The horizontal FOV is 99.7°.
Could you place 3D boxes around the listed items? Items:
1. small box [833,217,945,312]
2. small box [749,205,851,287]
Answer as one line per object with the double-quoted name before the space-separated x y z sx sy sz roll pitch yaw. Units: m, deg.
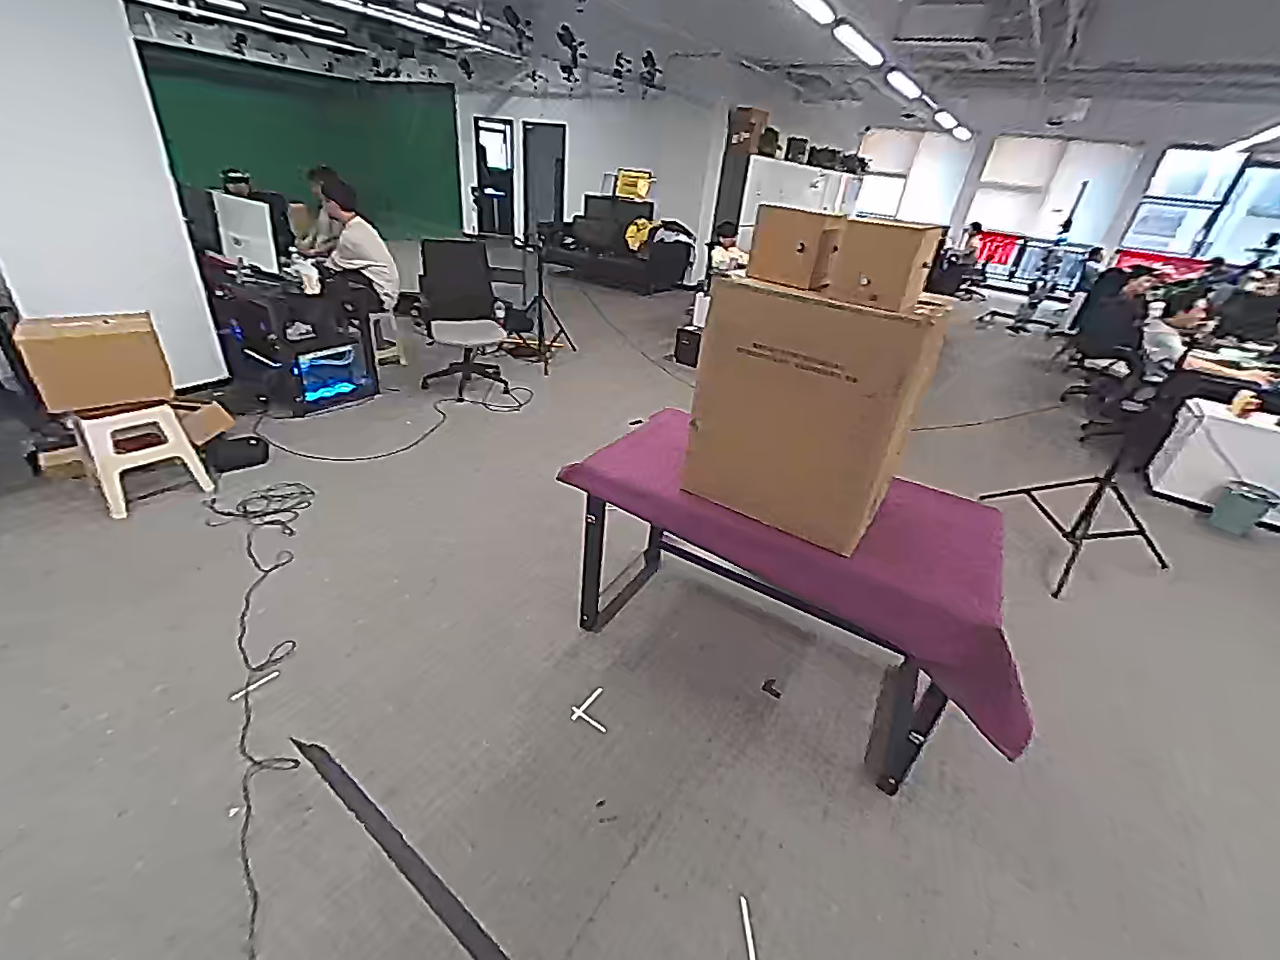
"small box" 0.553 -0.485 1.210 0.168 0.176 0.179 23 34 29
"small box" 0.395 -0.582 1.348 0.179 0.176 0.168 24 34 28
